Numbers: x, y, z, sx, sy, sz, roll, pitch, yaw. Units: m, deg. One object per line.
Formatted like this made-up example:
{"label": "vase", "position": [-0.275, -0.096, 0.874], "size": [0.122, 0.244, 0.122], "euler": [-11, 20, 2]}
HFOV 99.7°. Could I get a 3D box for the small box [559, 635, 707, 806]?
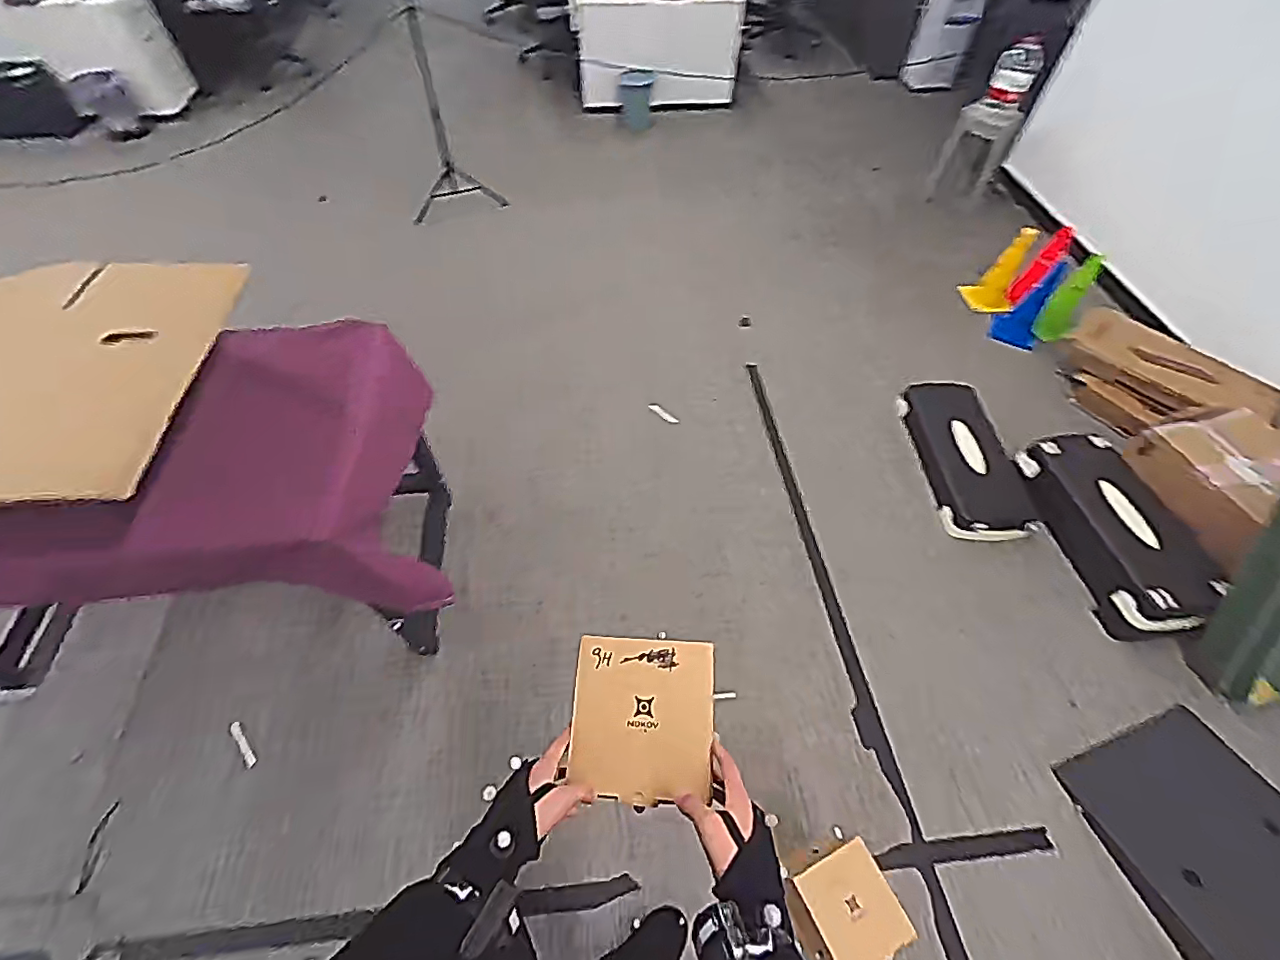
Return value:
{"label": "small box", "position": [-0.001, 0.310, 0.704], "size": [0.168, 0.176, 0.179], "euler": [2, 63, 3]}
